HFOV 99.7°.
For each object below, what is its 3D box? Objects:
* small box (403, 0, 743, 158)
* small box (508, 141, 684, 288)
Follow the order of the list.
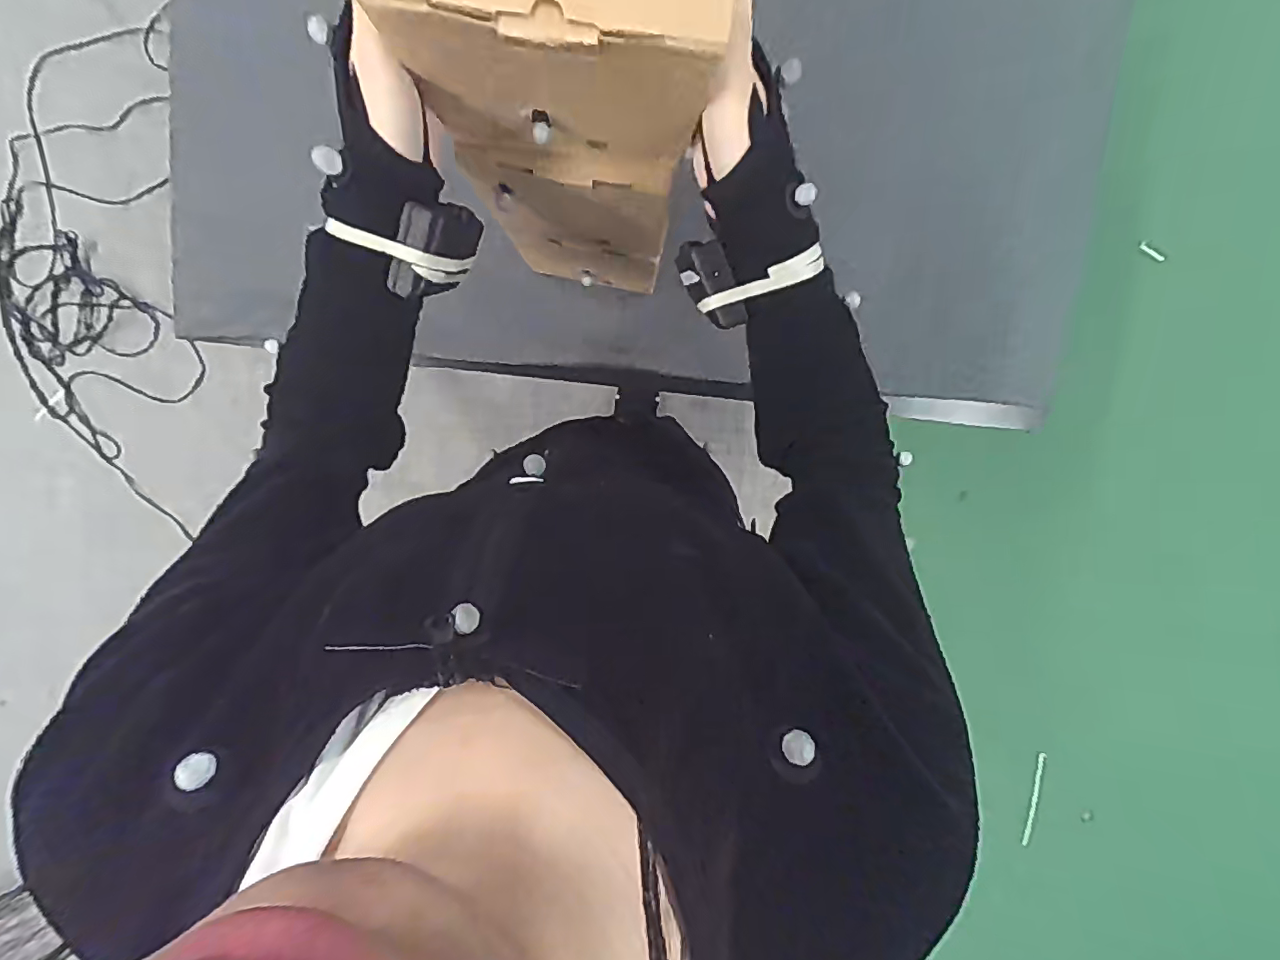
[{"bbox_3d":[-0.035,-0.308,0.294,0.168,0.176,0.179,3,102,-4],"label":"small box"},{"bbox_3d":[-0.042,-0.342,0.627,0.168,0.176,0.179,10,98,-2],"label":"small box"}]
